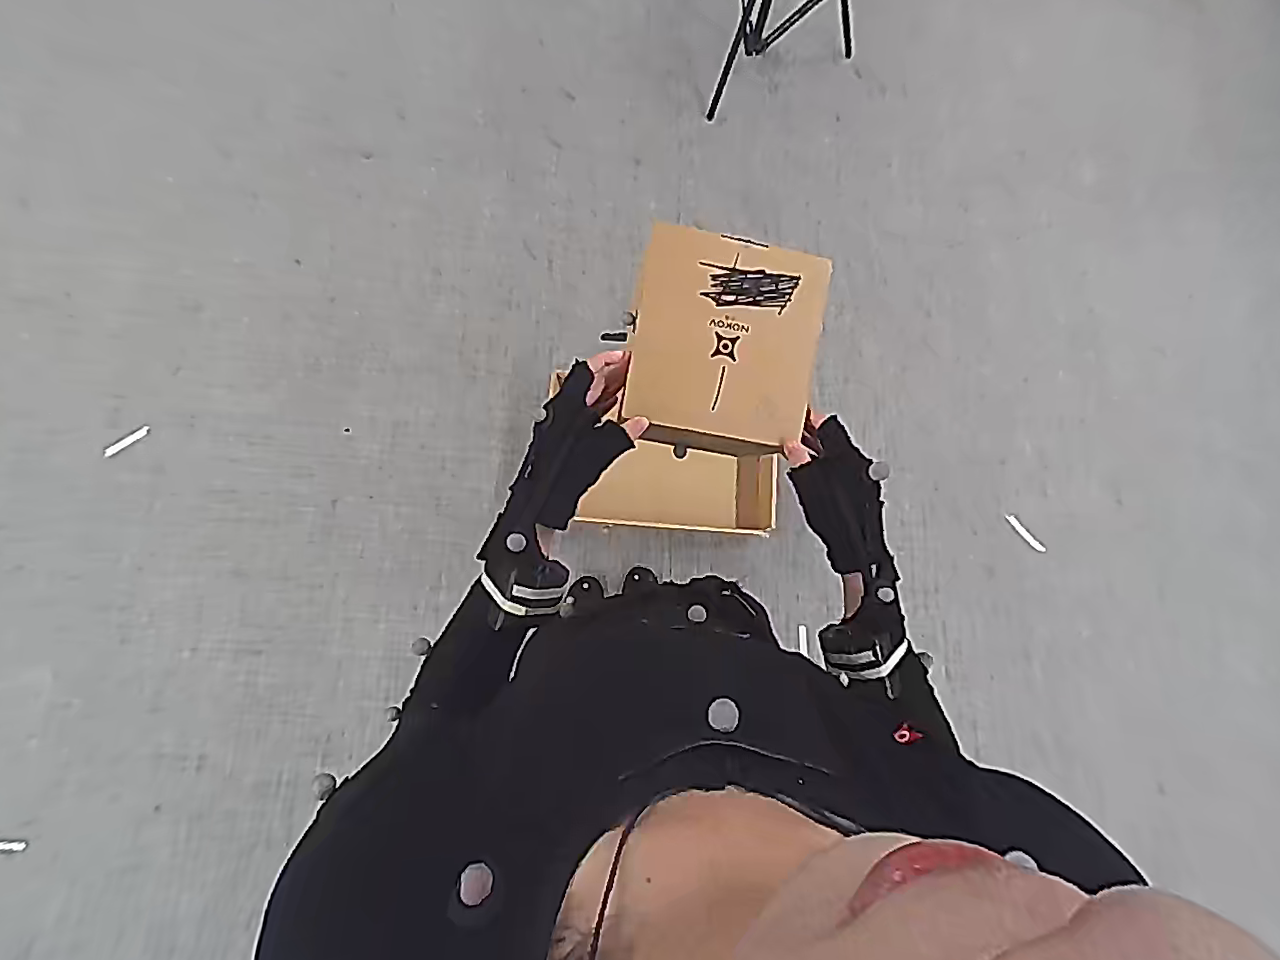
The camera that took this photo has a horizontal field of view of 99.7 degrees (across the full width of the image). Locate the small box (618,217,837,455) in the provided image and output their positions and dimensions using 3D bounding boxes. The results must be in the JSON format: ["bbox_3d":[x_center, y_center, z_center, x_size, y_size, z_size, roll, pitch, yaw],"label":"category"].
[{"bbox_3d":[0.074,-0.127,0.549,0.168,0.176,0.179,10,89,-6],"label":"small box"}]
